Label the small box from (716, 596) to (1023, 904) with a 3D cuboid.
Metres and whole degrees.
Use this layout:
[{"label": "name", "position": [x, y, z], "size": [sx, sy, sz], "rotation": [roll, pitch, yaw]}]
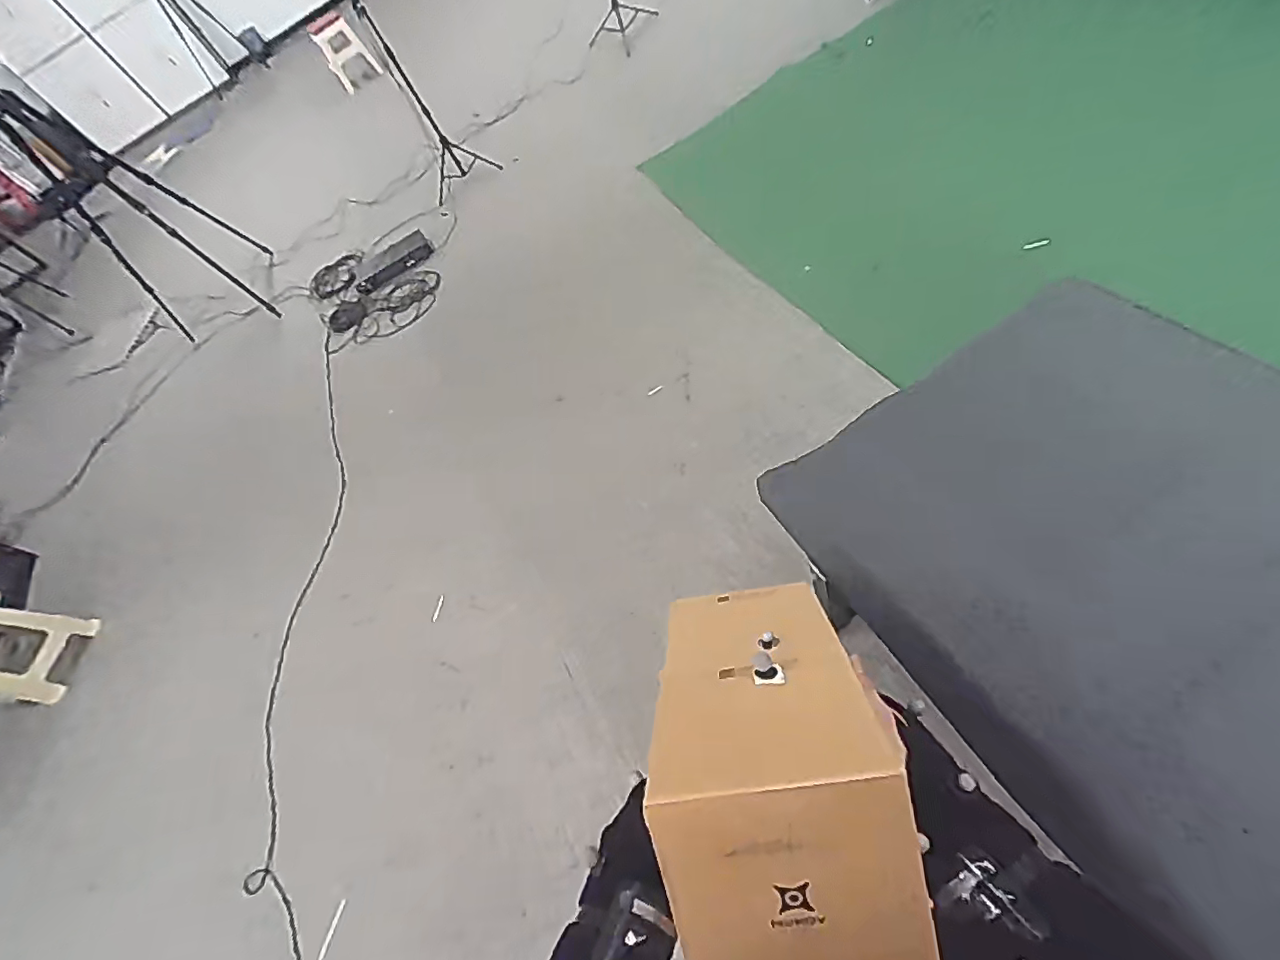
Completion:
[{"label": "small box", "position": [0.188, 0.214, 0.475], "size": [0.179, 0.168, 0.176], "rotation": [17, 85, -5]}]
